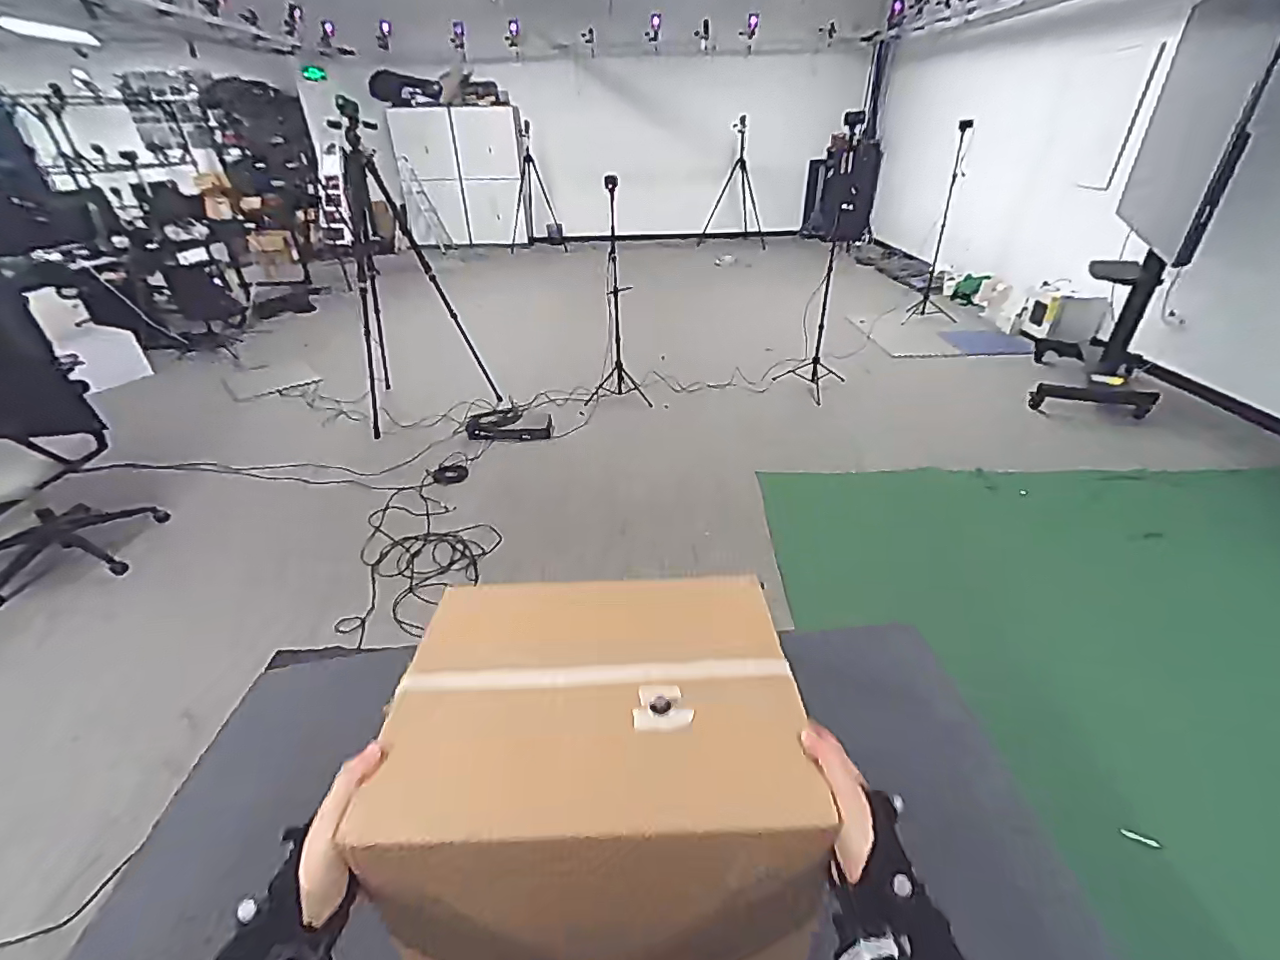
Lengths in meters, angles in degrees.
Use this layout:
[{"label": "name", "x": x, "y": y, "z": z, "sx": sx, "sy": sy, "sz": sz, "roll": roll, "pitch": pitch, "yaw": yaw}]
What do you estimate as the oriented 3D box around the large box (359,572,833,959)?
[{"label": "large box", "x": -0.037, "y": 0.333, "z": 0.645, "sx": 0.408, "sy": 0.320, "sz": 0.320, "roll": -2, "pitch": 30, "yaw": 0}]
